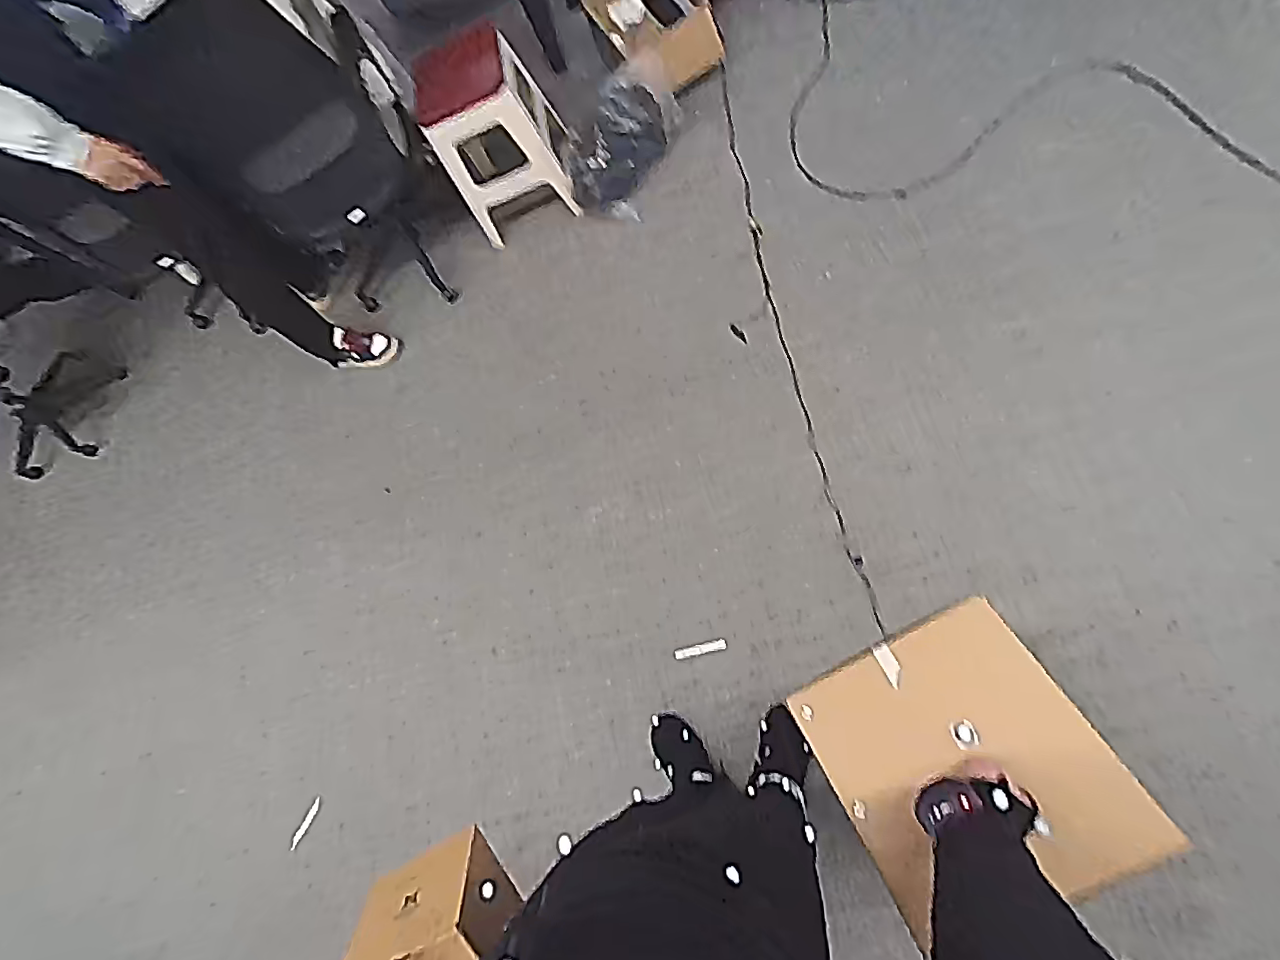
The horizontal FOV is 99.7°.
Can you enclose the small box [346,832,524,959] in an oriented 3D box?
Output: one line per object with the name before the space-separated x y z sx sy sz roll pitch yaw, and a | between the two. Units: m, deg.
small box | -0.268 0.639 0.726 0.168 0.179 0.176 -27 99 -7
